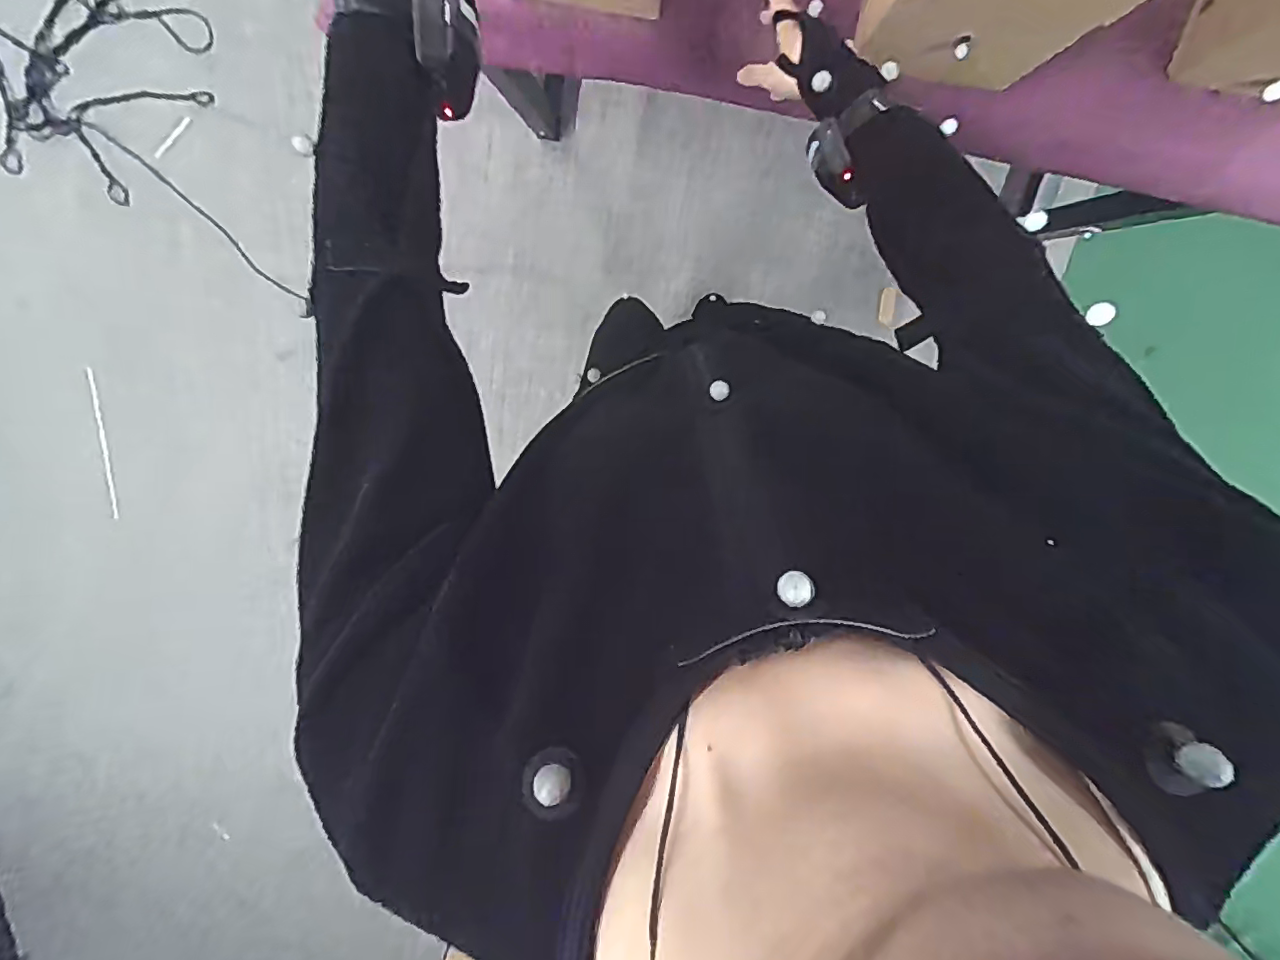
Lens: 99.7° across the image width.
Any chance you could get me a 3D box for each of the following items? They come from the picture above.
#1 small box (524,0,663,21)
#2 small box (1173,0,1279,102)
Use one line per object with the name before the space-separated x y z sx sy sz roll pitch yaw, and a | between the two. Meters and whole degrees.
small box | -0.056 -0.574 0.504 0.179 0.176 0.168 10 107 1
small box | 0.661 -0.466 0.481 0.179 0.176 0.168 11 106 2
